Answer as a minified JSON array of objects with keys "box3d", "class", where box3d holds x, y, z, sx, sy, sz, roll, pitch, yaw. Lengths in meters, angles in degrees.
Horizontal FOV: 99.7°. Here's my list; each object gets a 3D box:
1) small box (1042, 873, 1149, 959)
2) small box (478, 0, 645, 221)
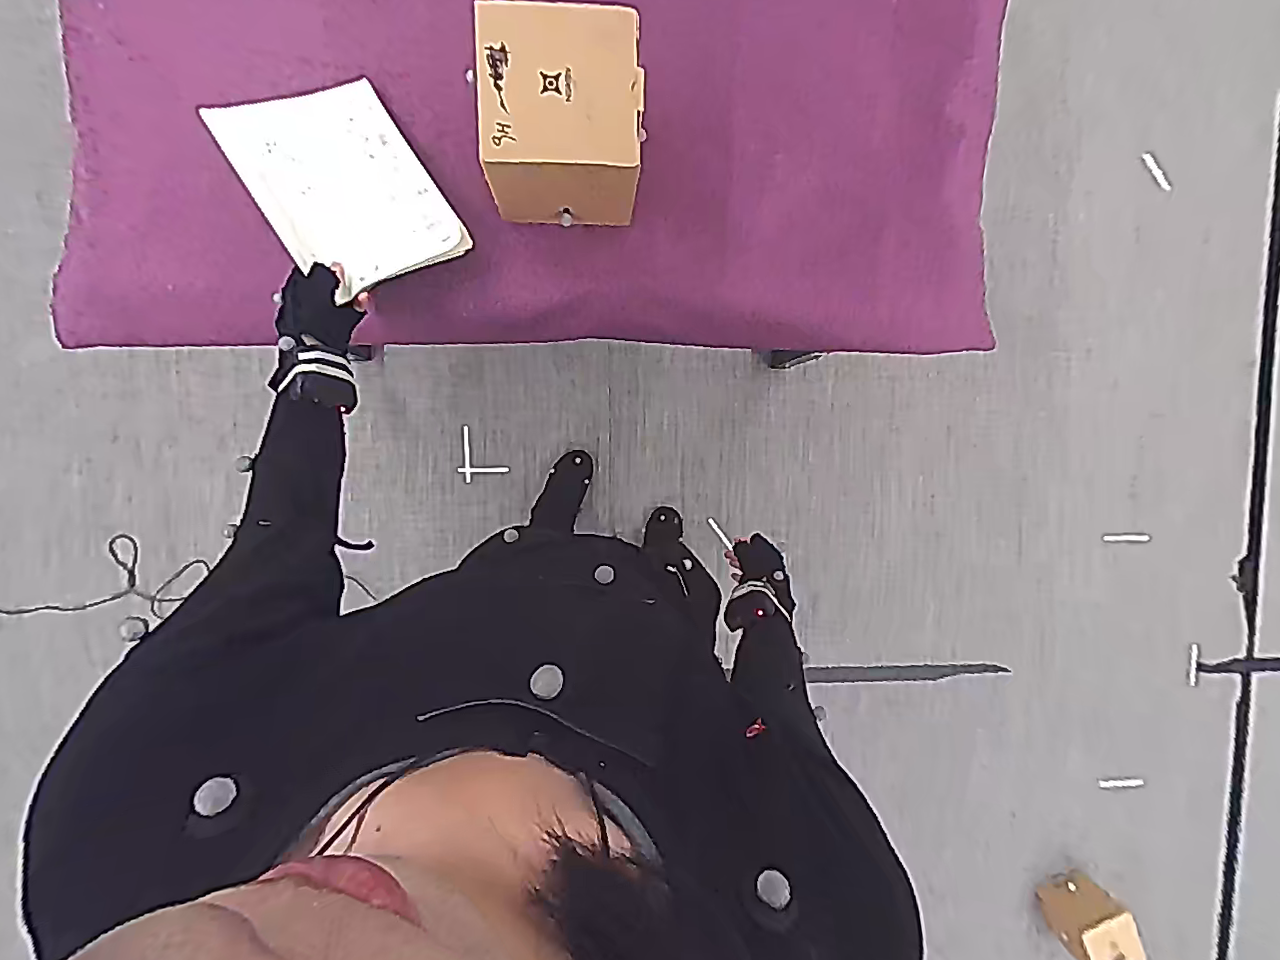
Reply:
[{"box3d":[1.390,1.370,1.658,0.168,0.176,0.179,-23,95,-3],"class":"small box"},{"box3d":[-0.091,-0.430,0.653,0.179,0.176,0.168,-1,94,-6],"class":"small box"}]
